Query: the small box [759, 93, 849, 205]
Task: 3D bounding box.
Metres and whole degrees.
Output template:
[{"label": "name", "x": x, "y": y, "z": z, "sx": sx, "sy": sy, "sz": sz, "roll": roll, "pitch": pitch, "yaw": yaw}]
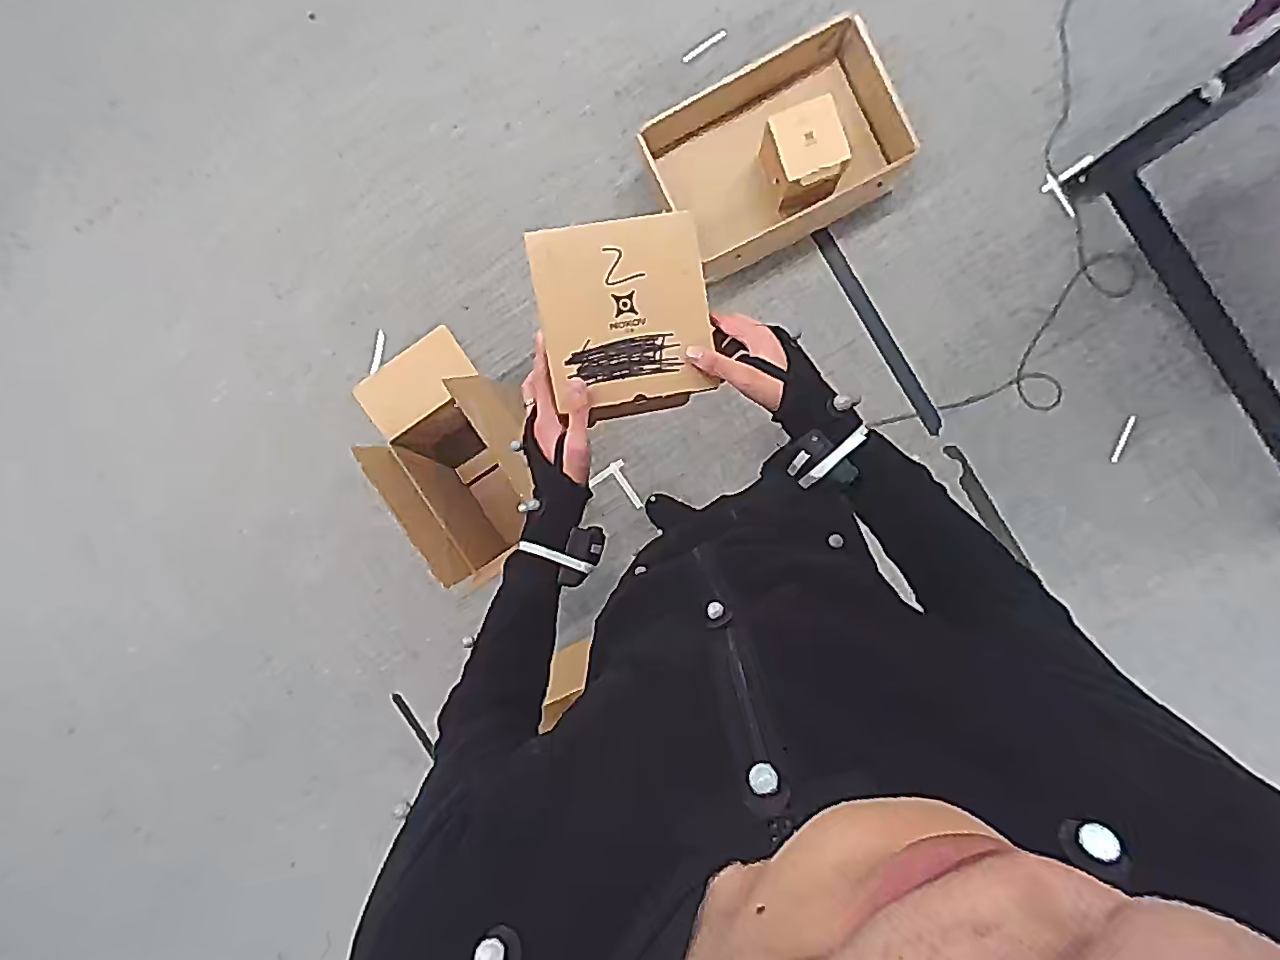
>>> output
[{"label": "small box", "x": 0.422, "y": -0.851, "z": 1.418, "sx": 0.168, "sy": 0.176, "sz": 0.179, "roll": -18, "pitch": 92, "yaw": 5}]
